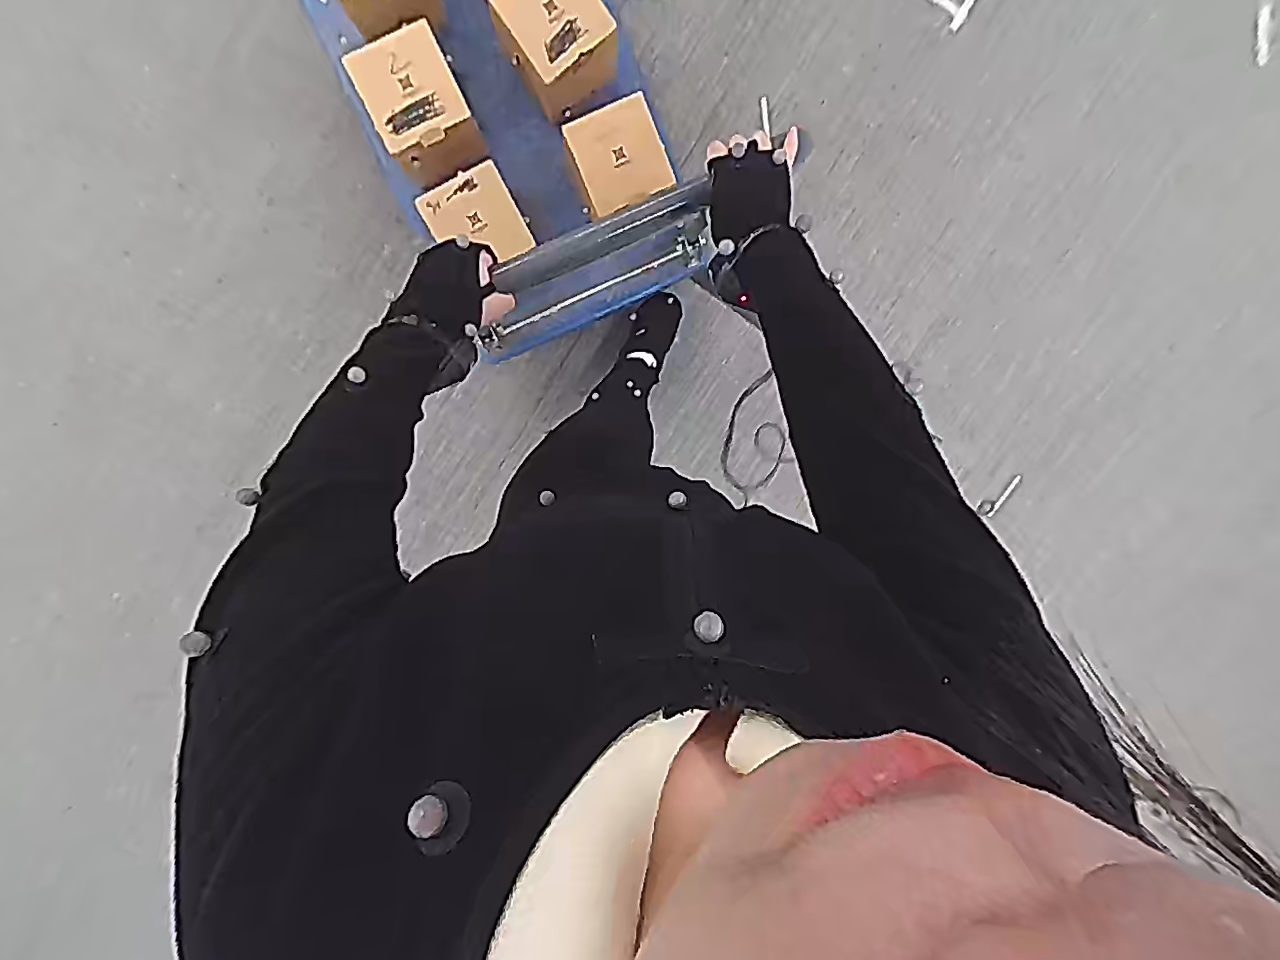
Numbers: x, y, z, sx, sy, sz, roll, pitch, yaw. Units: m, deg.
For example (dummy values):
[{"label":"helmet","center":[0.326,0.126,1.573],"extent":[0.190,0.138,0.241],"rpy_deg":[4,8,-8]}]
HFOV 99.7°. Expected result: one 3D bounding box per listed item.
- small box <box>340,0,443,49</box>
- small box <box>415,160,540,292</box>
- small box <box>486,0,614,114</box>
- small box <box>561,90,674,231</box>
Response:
[{"label":"small box","center":[-0.489,-0.951,0.988],"extent":[0.168,0.176,0.179],"rpy_deg":[-23,103,-1]},{"label":"small box","center":[-0.314,-0.496,1.090],"extent":[0.168,0.176,0.179],"rpy_deg":[-29,102,-1]},{"label":"small box","center":[-0.166,-0.849,1.039],"extent":[0.168,0.176,0.179],"rpy_deg":[-37,101,2]},{"label":"small box","center":[-0.047,-0.627,1.093],"extent":[0.168,0.176,0.179],"rpy_deg":[-25,101,-1]}]
